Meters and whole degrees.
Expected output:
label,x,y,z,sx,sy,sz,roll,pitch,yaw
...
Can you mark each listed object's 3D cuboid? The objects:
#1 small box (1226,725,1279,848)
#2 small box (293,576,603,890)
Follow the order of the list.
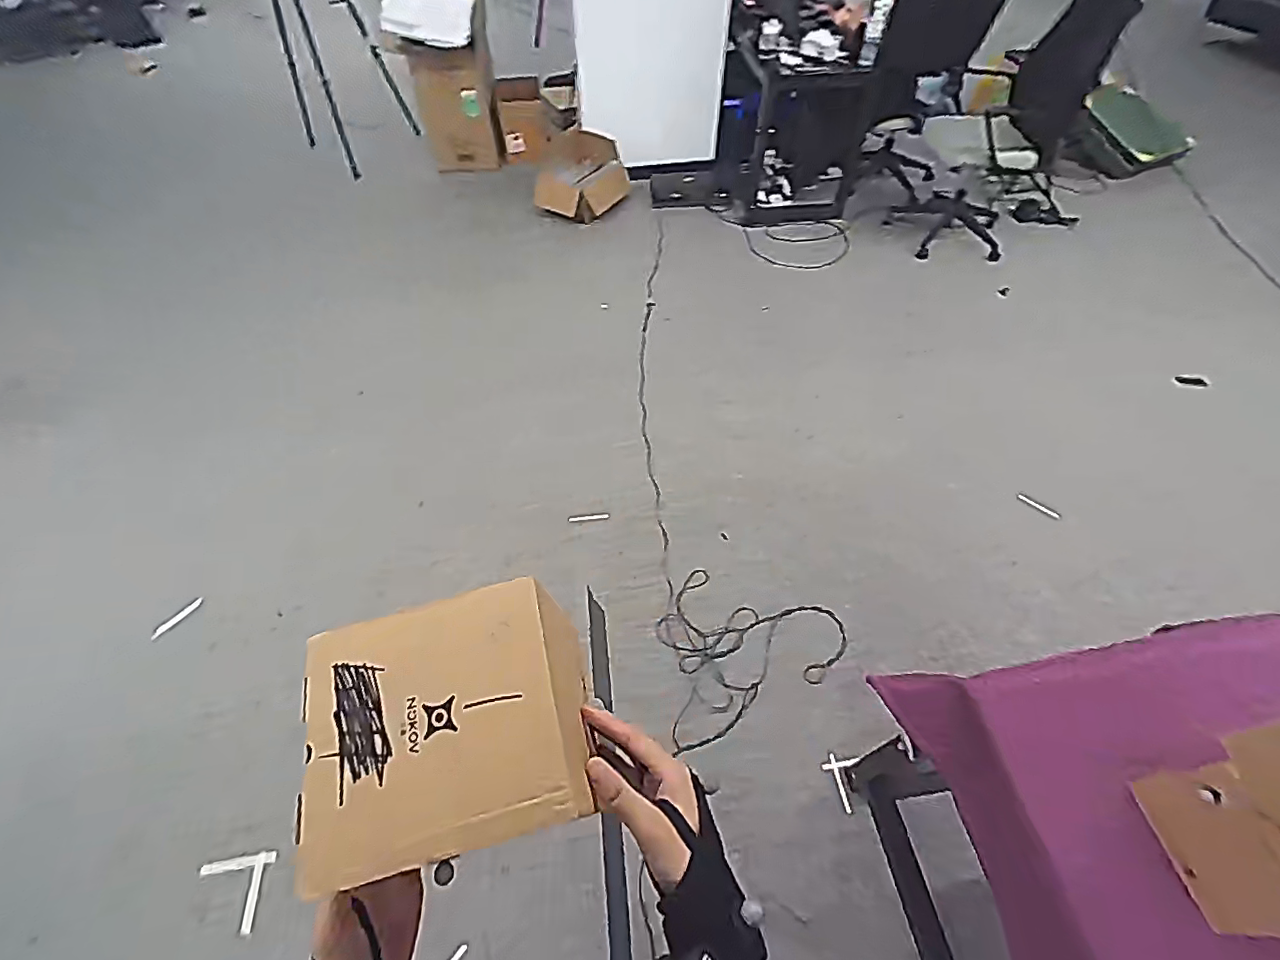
label,x,y,z,sx,sy,sz,roll,pitch,yaw
small box,0.781,0.337,0.544,0.168,0.176,0.179,0,53,1
small box,-0.140,0.202,0.441,0.179,0.176,0.168,-15,61,-4
